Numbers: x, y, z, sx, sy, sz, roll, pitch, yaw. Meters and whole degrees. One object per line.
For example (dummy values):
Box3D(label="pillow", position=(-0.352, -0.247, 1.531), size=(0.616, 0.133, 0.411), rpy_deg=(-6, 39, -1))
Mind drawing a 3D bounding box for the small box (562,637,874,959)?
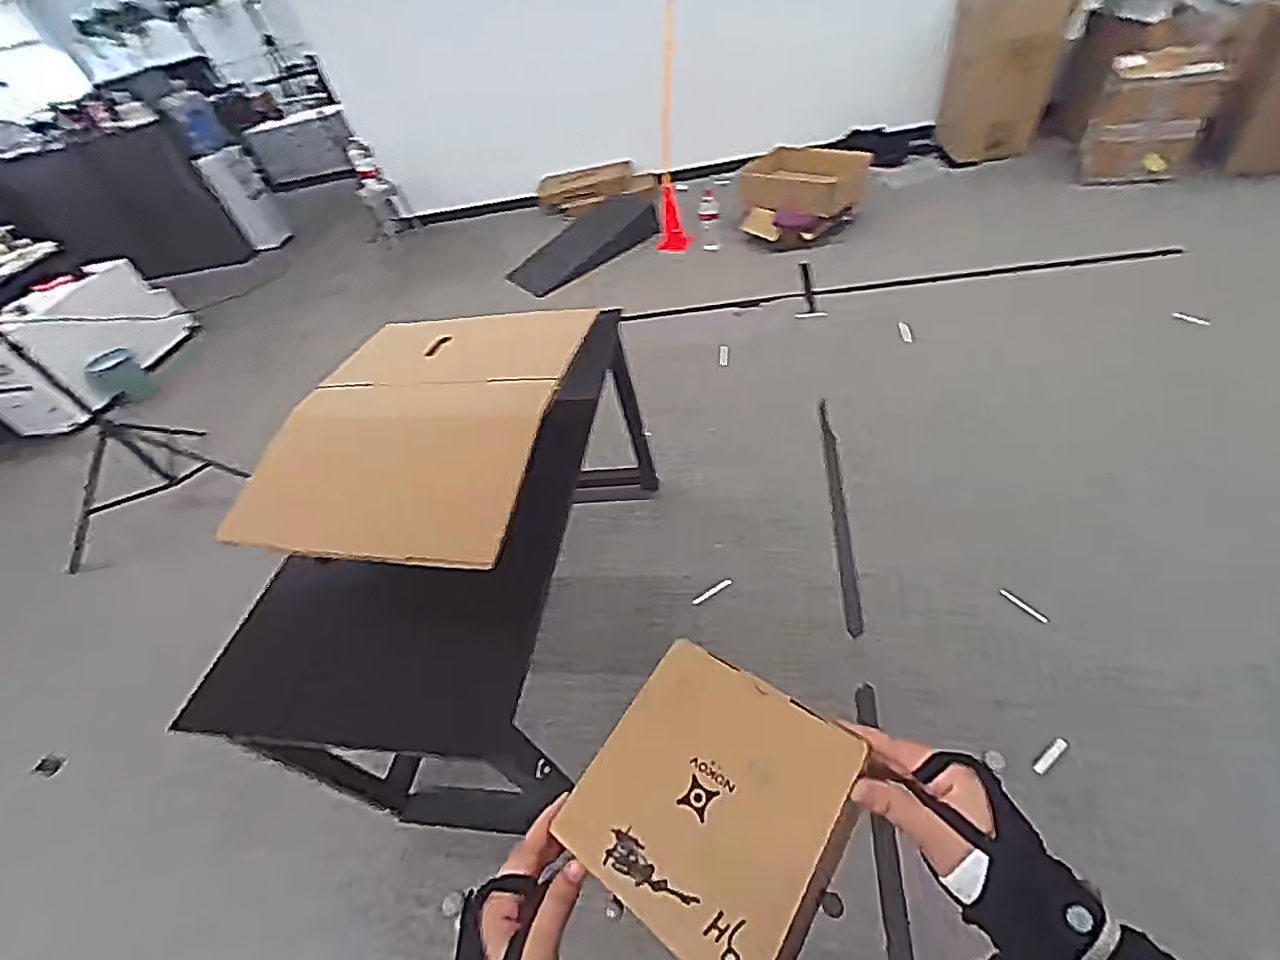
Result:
Box3D(label="small box", position=(0.071, 0.272, 0.444), size=(0.168, 0.176, 0.179), rpy_deg=(21, 57, 36))
